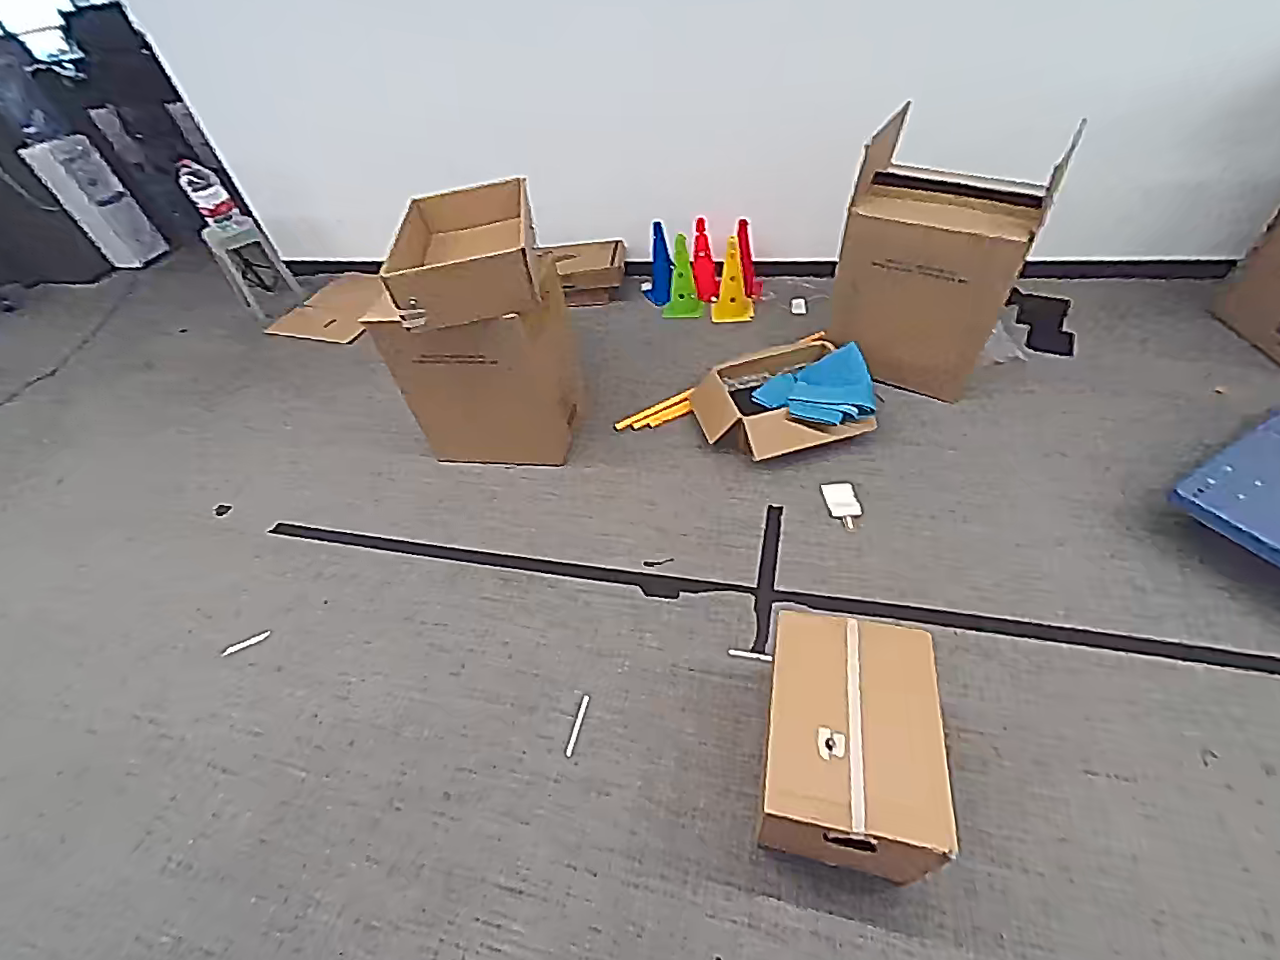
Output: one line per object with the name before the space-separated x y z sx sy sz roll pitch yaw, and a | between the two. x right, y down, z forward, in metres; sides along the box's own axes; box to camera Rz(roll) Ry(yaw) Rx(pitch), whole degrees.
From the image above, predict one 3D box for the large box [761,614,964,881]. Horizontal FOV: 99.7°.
large box | 0.431 0.550 1.138 0.320 0.320 0.408 5 49 14
